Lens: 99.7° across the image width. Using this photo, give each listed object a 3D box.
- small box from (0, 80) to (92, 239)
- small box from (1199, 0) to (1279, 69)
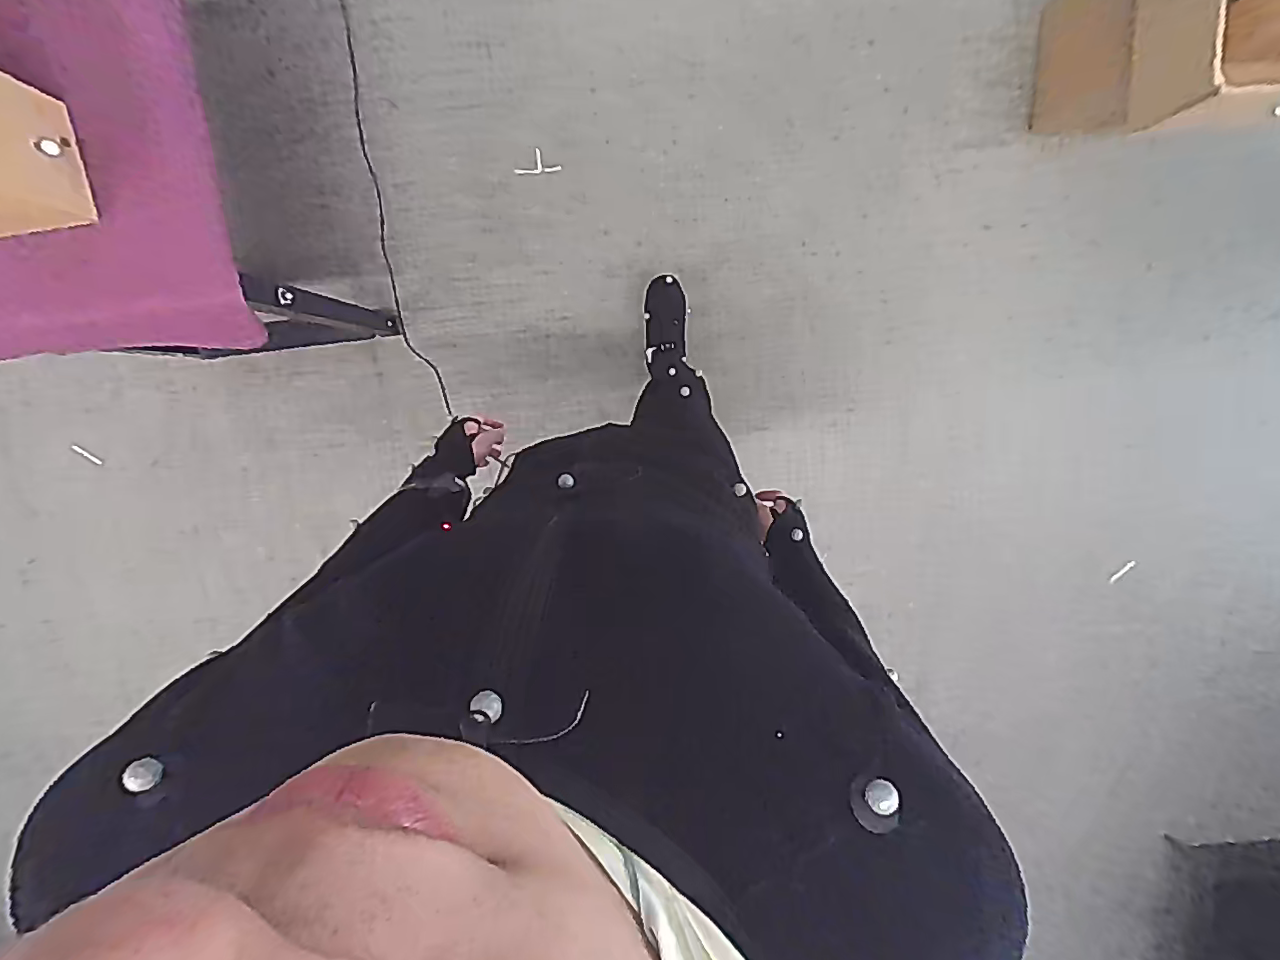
[{"bbox_3d":[-0.901,-0.428,0.709,0.179,0.176,0.168,-8,100,0],"label":"small box"},{"bbox_3d":[1.206,-0.892,0.991,0.179,0.176,0.168,-3,101,0],"label":"small box"}]
